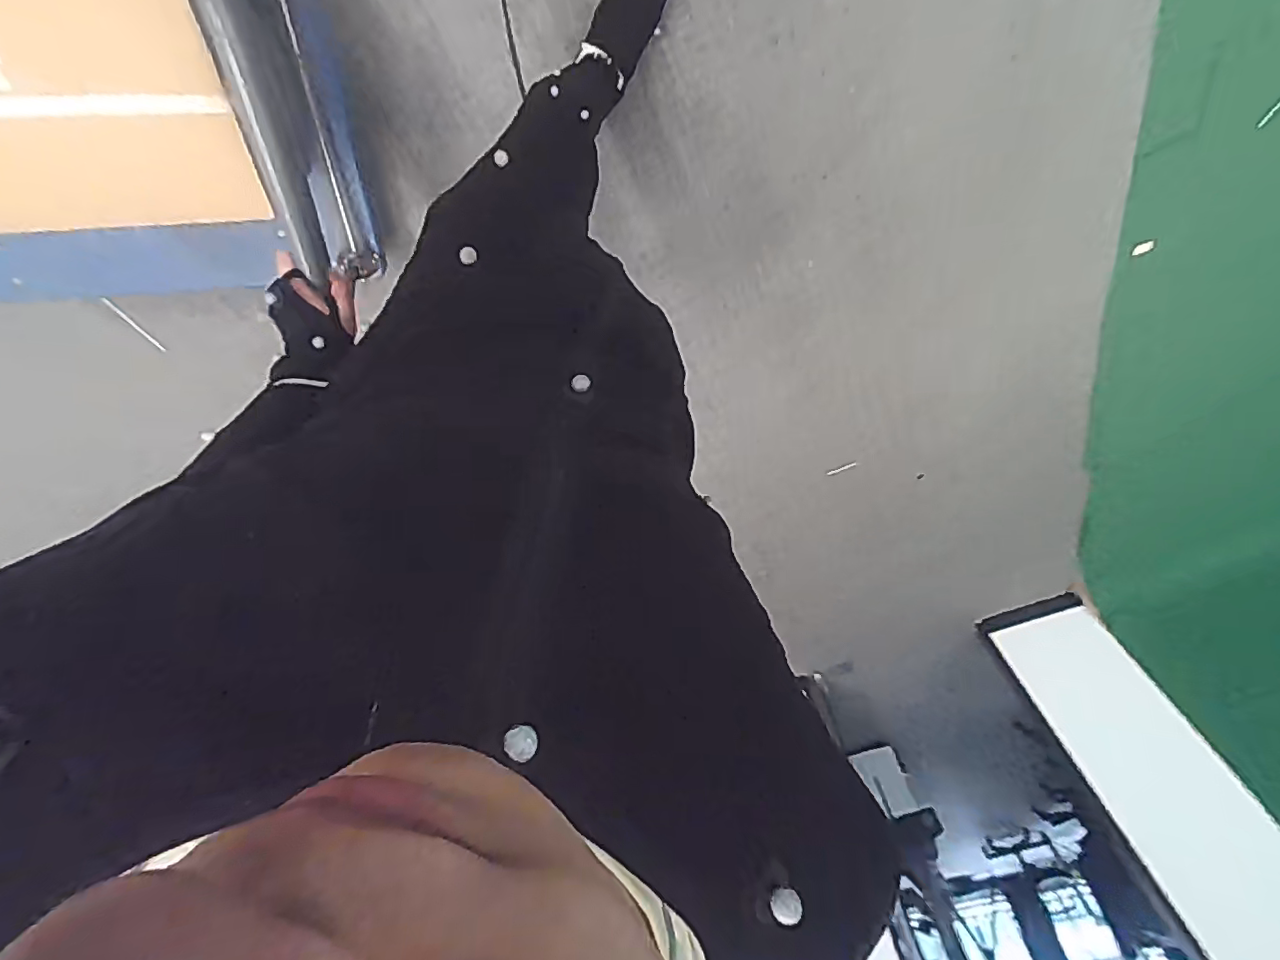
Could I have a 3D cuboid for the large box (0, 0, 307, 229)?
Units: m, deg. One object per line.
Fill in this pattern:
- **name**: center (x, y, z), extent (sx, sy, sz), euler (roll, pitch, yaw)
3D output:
- **large box**: center (-0.813, -0.612, 0.836), extent (0.408, 0.320, 0.320), euler (-10, 133, -12)
